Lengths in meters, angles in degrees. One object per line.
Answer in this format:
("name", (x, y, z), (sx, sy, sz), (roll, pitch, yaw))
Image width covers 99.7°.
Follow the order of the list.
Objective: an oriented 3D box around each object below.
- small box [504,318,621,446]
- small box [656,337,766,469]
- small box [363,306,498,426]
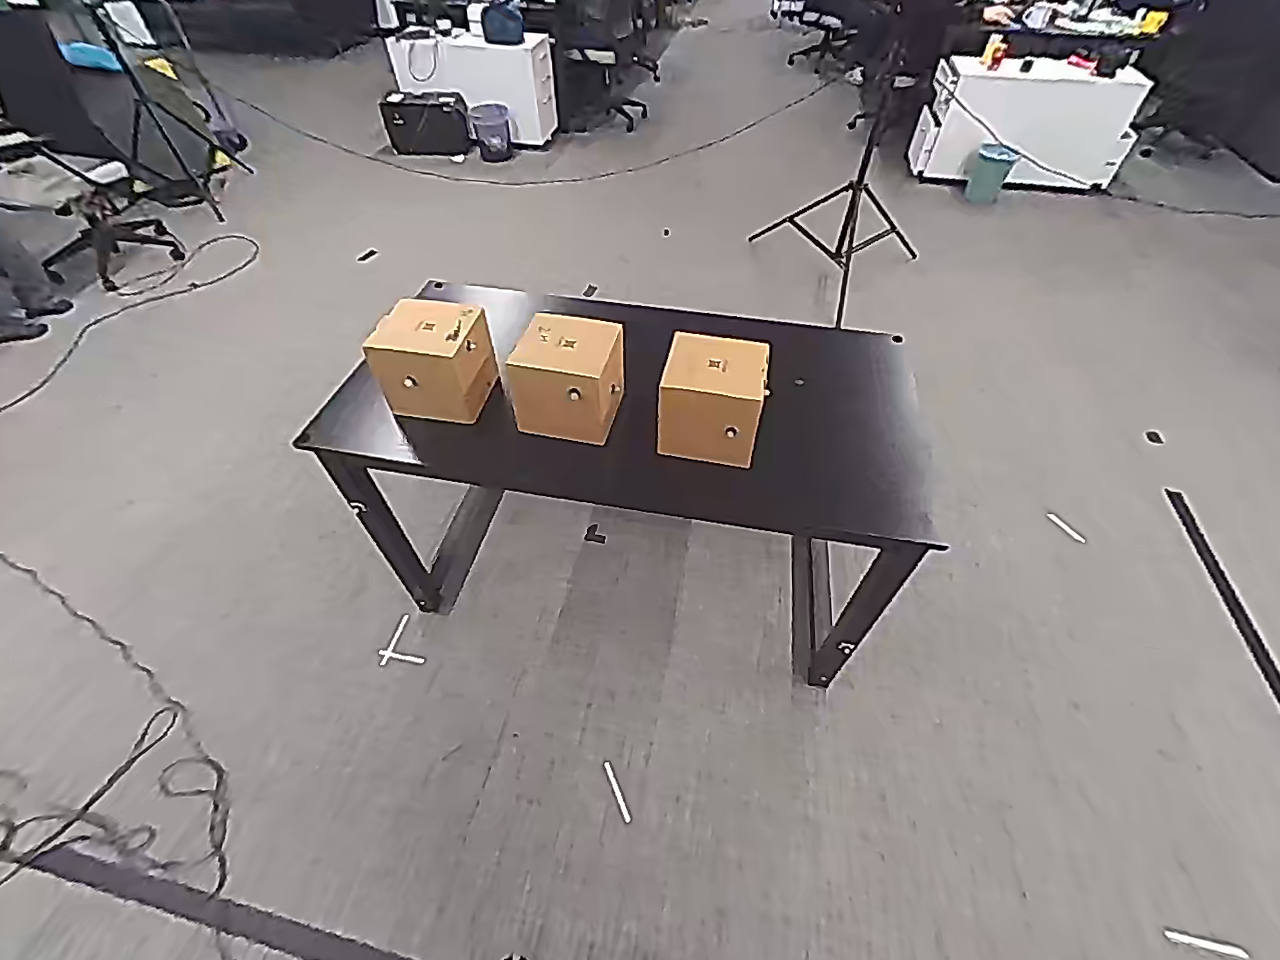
("small box", (-0.138, -0.185, 1.045), (0.179, 0.176, 0.168), (9, 50, 8))
("small box", (0.129, -0.140, 1.007), (0.179, 0.176, 0.168), (8, 48, 7))
("small box", (-0.405, -0.225, 1.080), (0.179, 0.176, 0.168), (7, 50, 6))
